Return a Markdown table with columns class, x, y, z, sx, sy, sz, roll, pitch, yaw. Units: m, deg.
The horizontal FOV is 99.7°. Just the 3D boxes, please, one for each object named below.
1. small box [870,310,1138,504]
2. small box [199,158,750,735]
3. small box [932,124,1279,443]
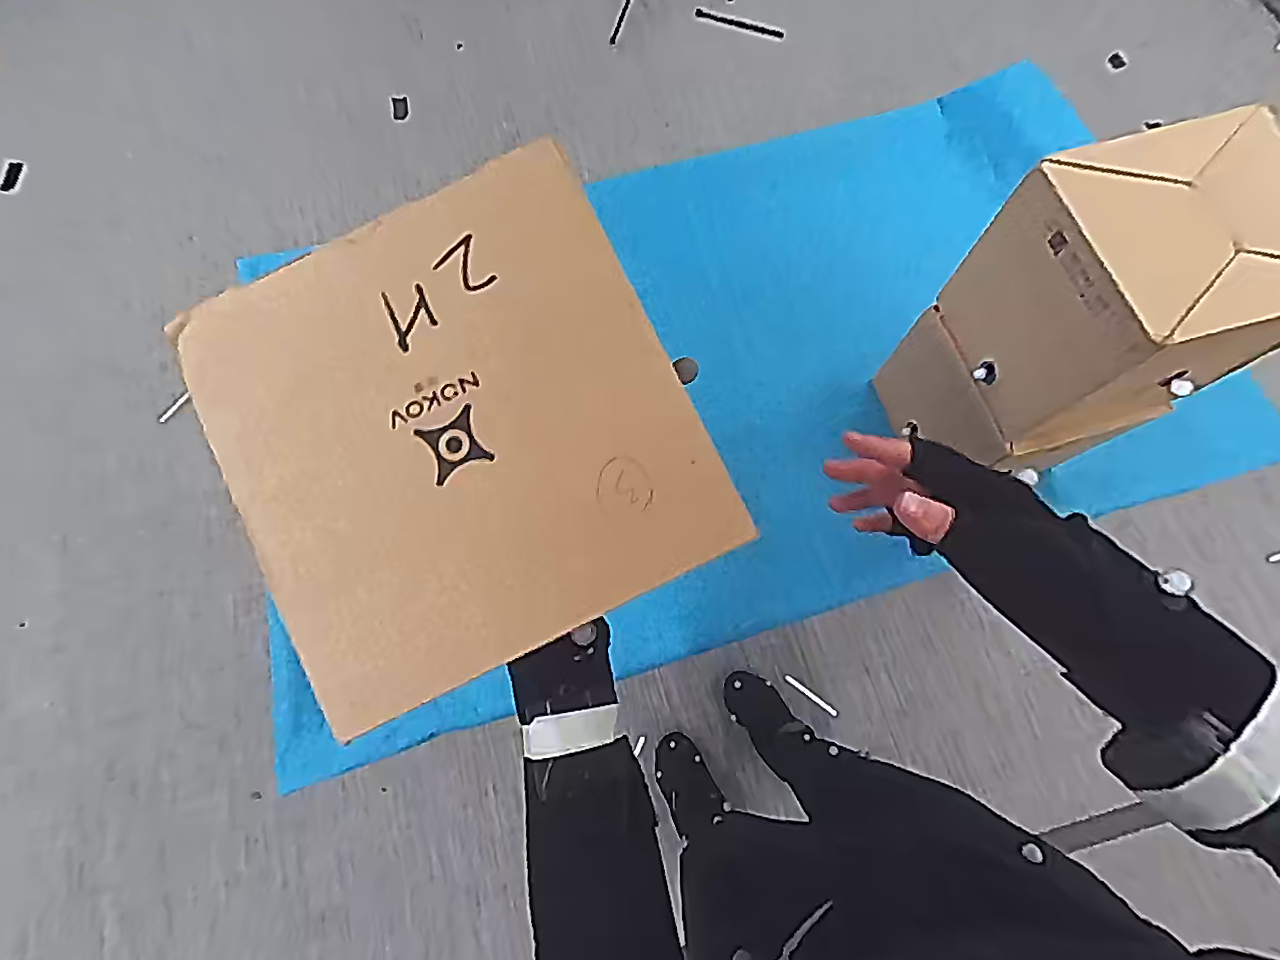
| class | x | y | z | sx | sy | sz | roll | pitch | yaw |
| --- | --- | --- | --- | --- | --- | --- | --- | --- | --- |
| small box | 0.396 | -0.097 | 0.606 | 0.168 | 0.176 | 0.179 | -16 | 72 | -4 |
| small box | -0.061 | -0.010 | 0.285 | 0.168 | 0.176 | 0.179 | -26 | 86 | 1 |
| small box | 0.396 | -0.154 | 0.452 | 0.179 | 0.176 | 0.168 | -15 | 71 | -1 |
